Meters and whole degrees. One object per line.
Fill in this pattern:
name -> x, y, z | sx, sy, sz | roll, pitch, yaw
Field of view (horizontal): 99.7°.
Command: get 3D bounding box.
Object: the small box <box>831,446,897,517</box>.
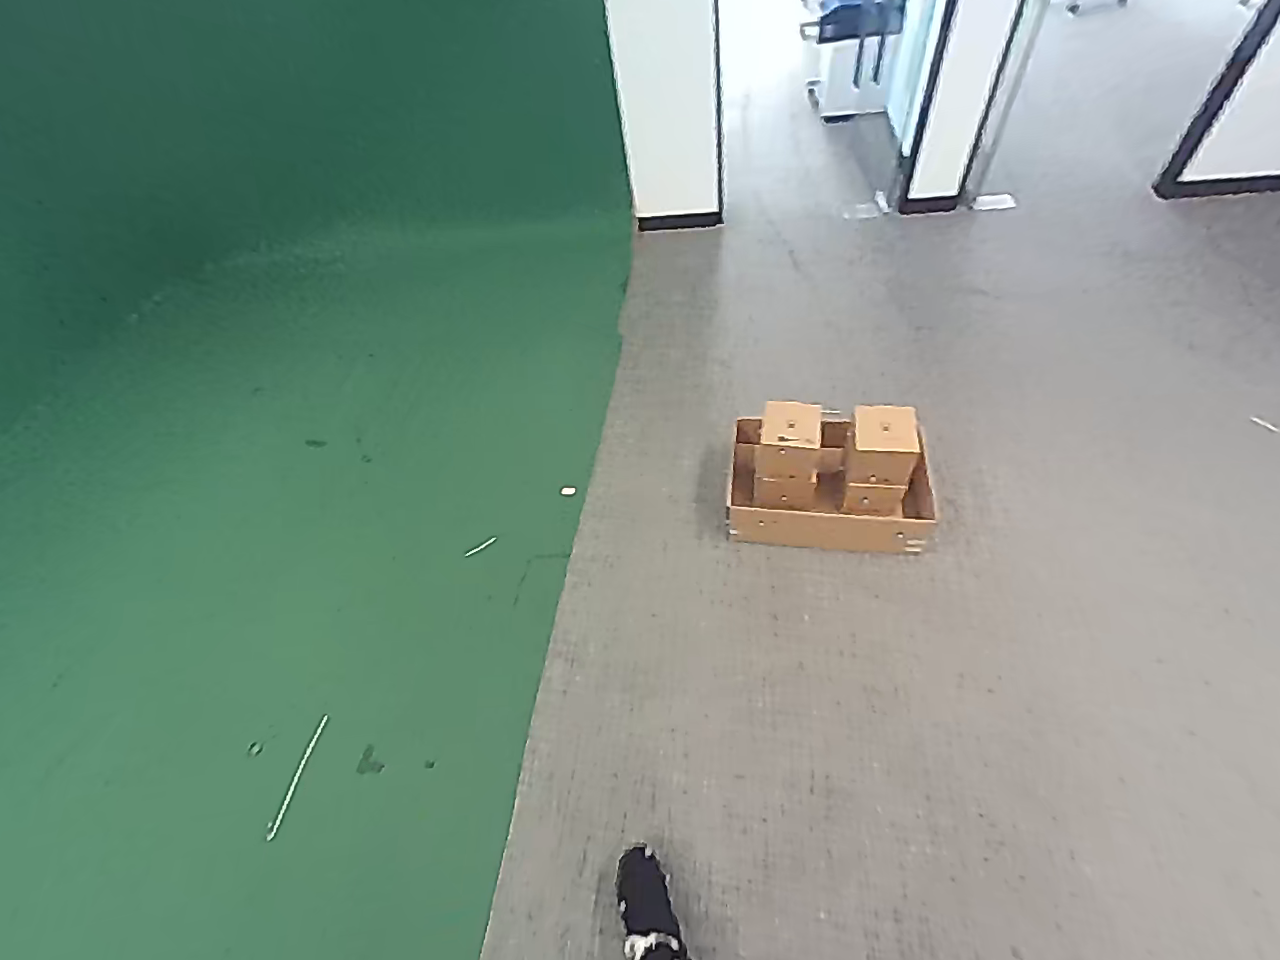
small box -> 0.723, 0.007, 1.759 | 0.168, 0.176, 0.179 | 2, 54, 10

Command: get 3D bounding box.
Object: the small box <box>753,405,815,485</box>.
small box -> 0.443, -0.109, 1.677 | 0.168, 0.176, 0.179 | 6, 54, 13

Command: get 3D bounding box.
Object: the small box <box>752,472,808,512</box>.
small box -> 0.466, -0.009, 1.806 | 0.168, 0.176, 0.179 | 3, 54, 9

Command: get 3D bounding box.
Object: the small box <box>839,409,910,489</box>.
small box -> 0.701, -0.094, 1.632 | 0.168, 0.176, 0.179 | 3, 54, 13
